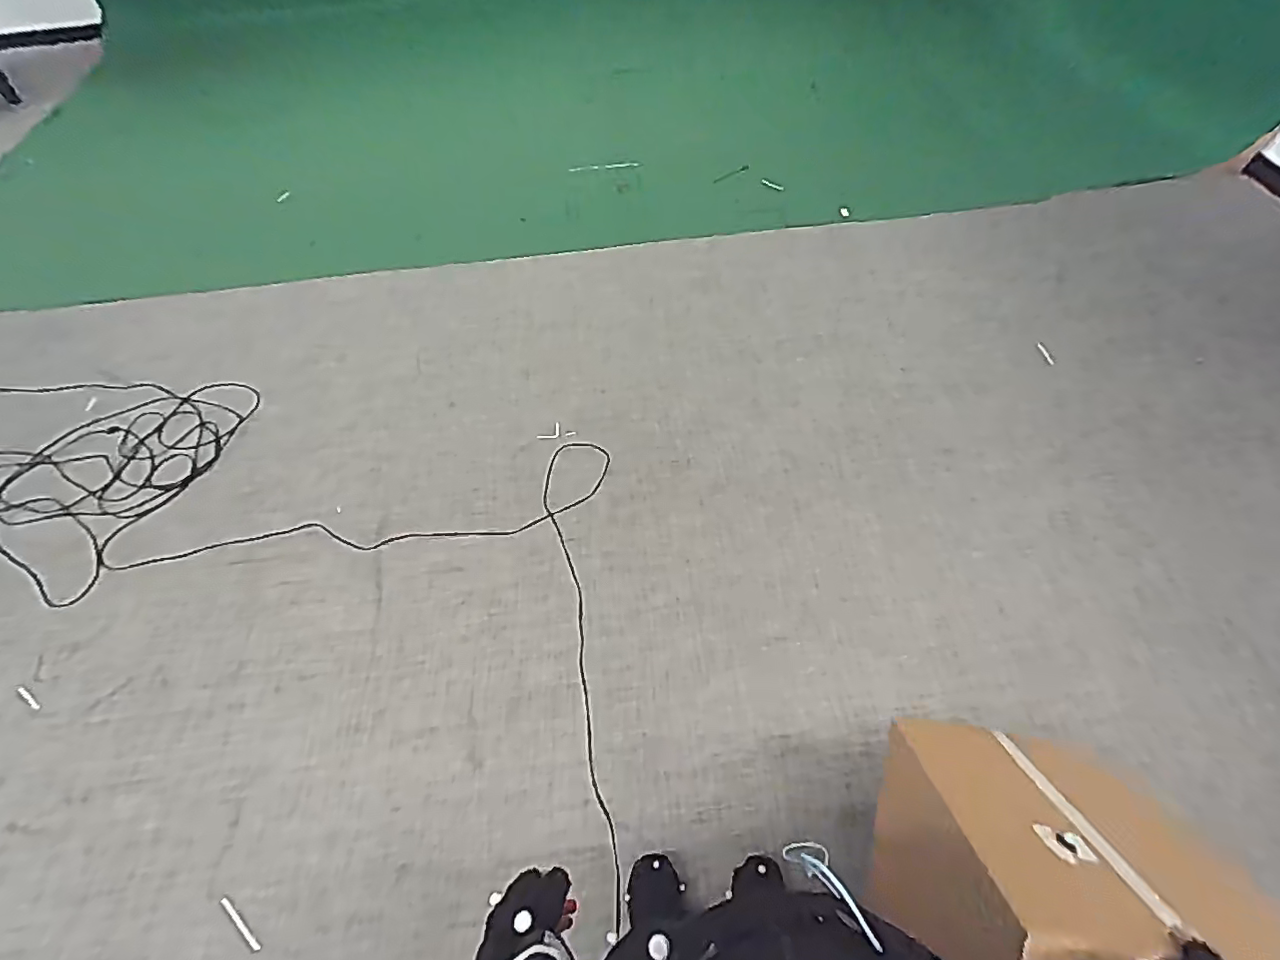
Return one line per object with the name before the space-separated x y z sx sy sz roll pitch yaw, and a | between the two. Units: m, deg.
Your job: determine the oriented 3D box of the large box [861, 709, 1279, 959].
large box | 0.514 0.560 0.685 0.320 0.408 0.320 7 97 7
